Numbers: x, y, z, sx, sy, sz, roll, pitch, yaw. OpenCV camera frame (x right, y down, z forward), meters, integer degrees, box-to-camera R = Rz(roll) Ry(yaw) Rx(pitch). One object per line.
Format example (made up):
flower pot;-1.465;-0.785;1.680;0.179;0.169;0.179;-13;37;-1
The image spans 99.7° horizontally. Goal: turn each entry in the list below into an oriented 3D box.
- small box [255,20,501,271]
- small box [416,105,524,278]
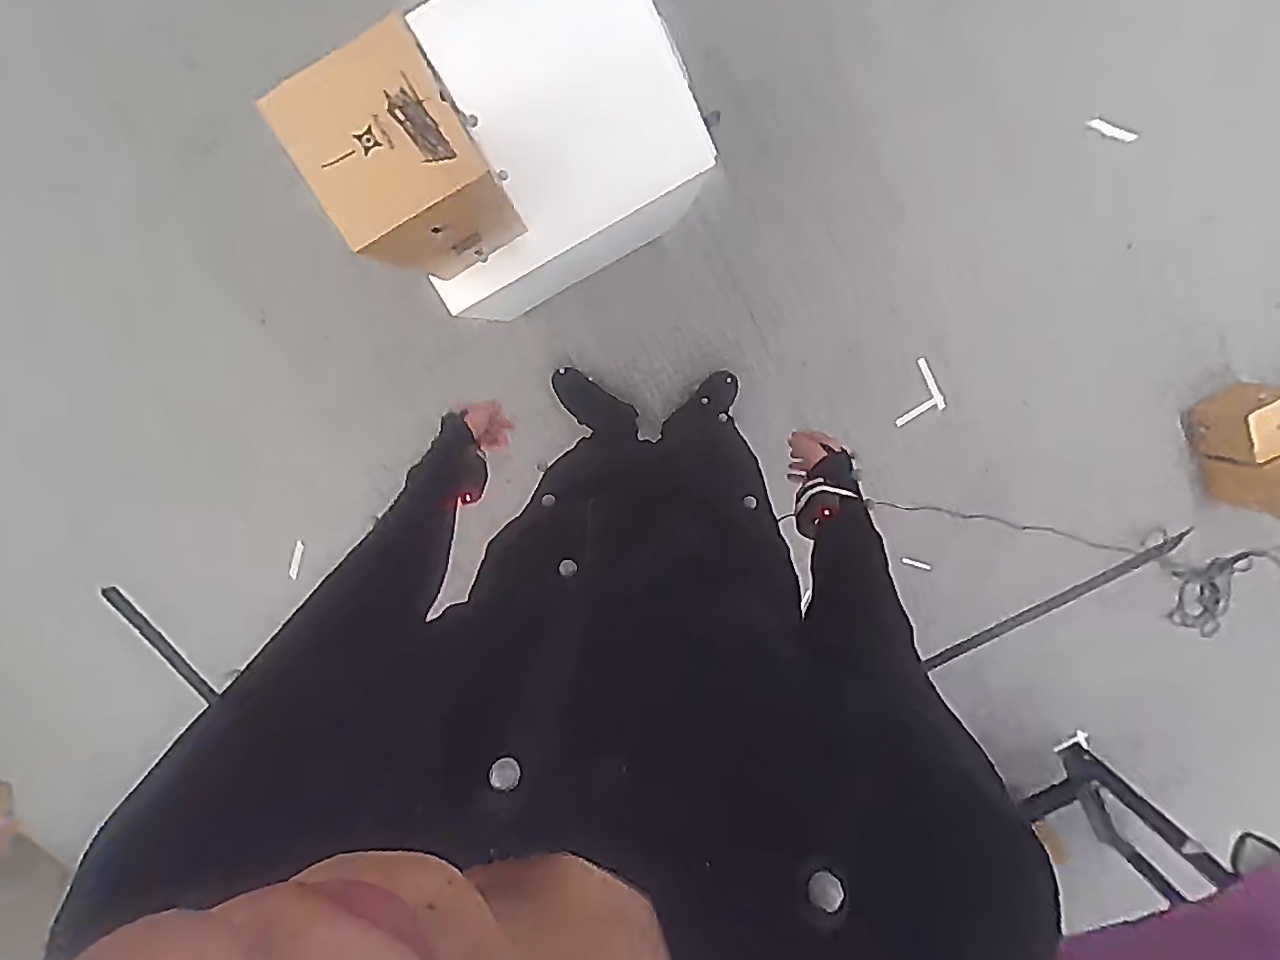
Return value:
small box;-0.282;-0.369;0.636;0.179;0.176;0.168;-29;104;5
small box;-0.292;-0.419;0.793;0.168;0.176;0.179;-29;105;5
